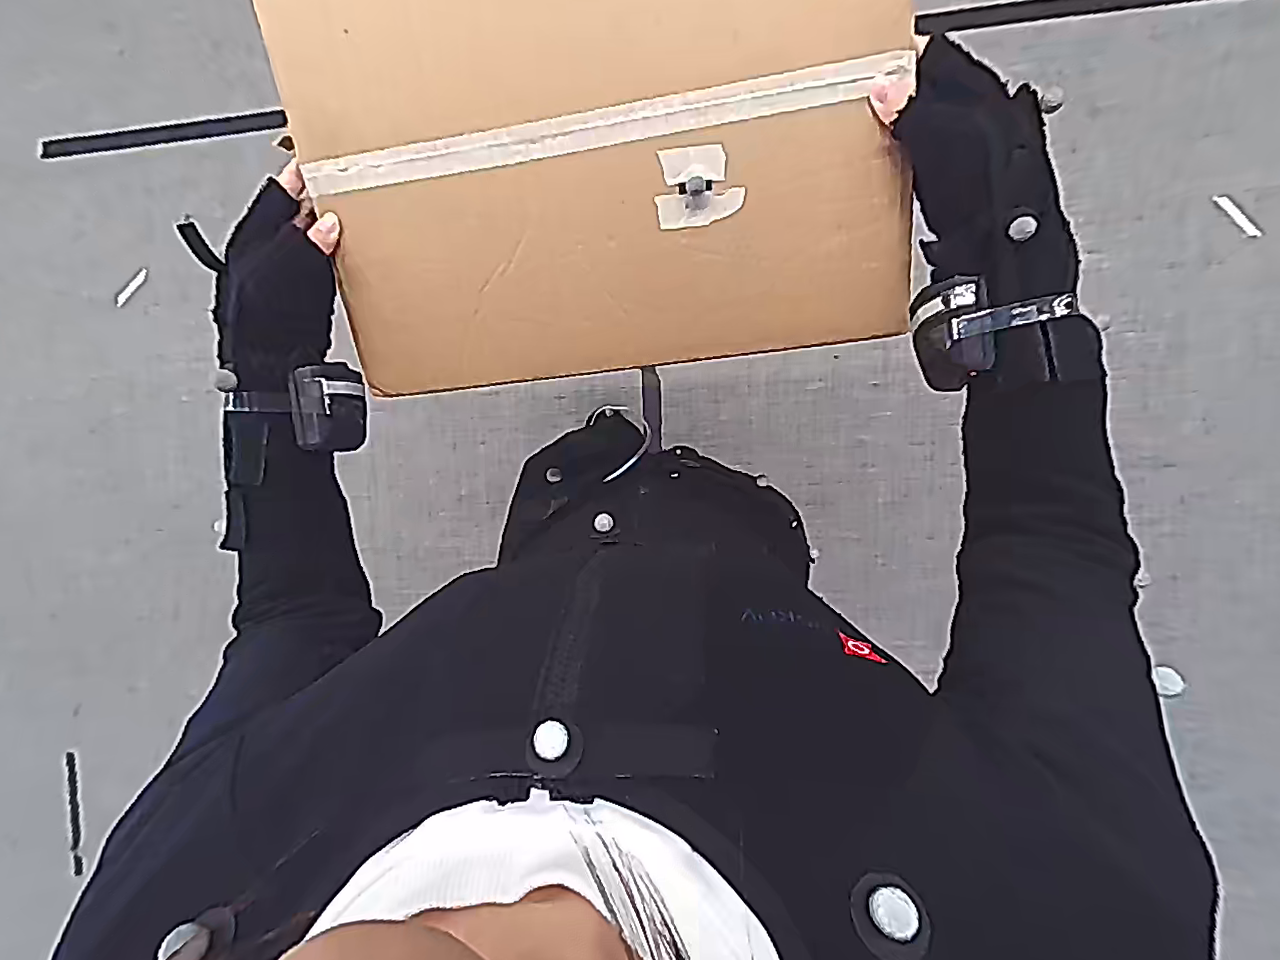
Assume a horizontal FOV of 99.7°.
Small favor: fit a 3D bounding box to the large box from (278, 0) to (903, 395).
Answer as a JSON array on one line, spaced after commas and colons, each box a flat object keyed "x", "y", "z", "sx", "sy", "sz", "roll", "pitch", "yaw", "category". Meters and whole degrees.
[{"x": -0.018, "y": -0.283, "z": 0.510, "sx": 0.408, "sy": 0.320, "sz": 0.320, "roll": -6, "pitch": 109, "yaw": 7, "category": "large box"}]
